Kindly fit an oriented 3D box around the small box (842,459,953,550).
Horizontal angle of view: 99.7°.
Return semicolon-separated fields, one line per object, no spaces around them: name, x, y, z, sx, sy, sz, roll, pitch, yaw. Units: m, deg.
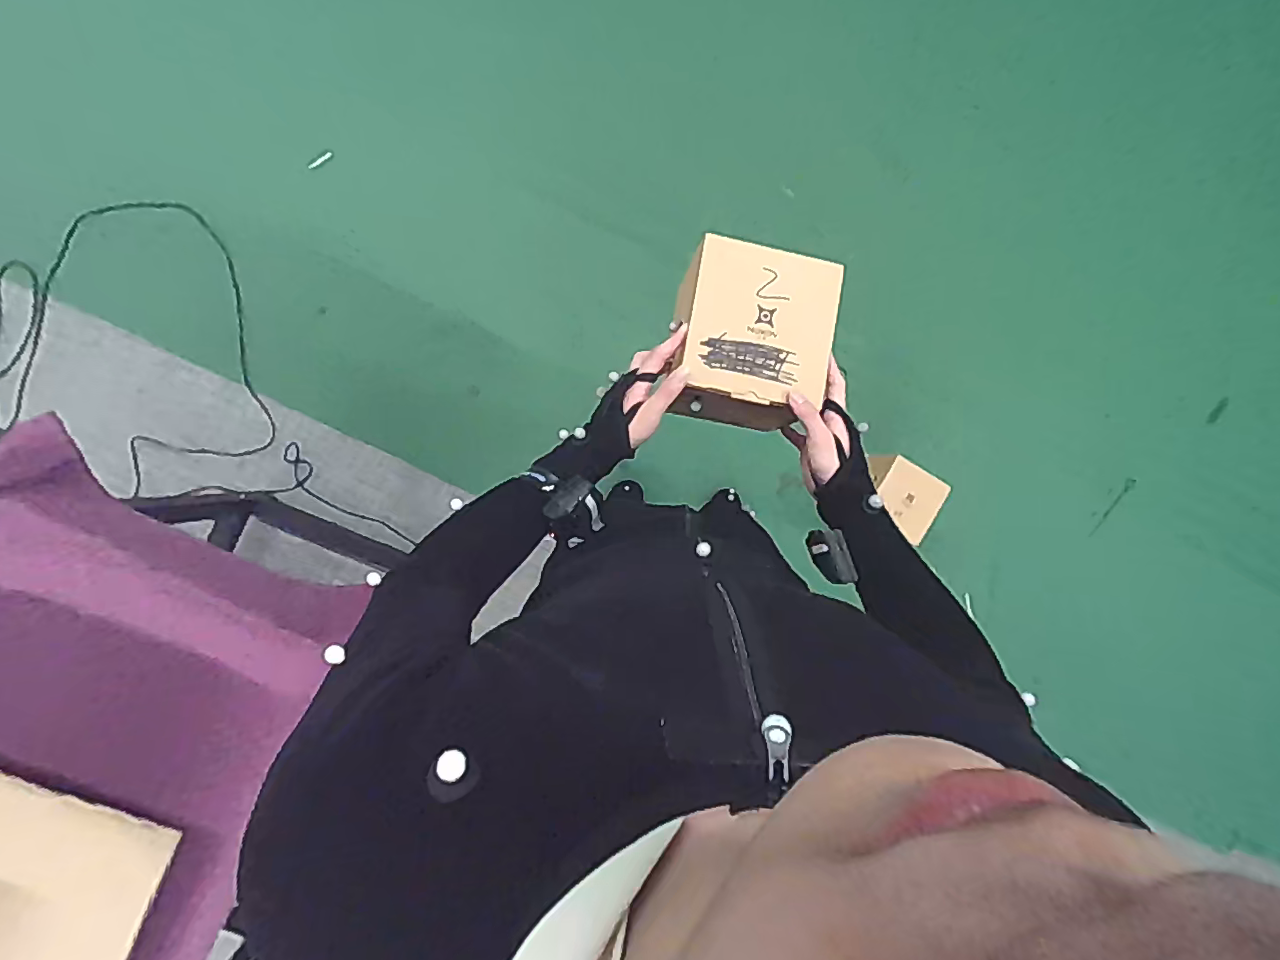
small box;0.667;0.058;1.425;0.168;0.176;0.179;31;90;-4

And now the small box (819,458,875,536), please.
small box;0.656;0.048;1.589;0.168;0.176;0.179;29;90;-4
